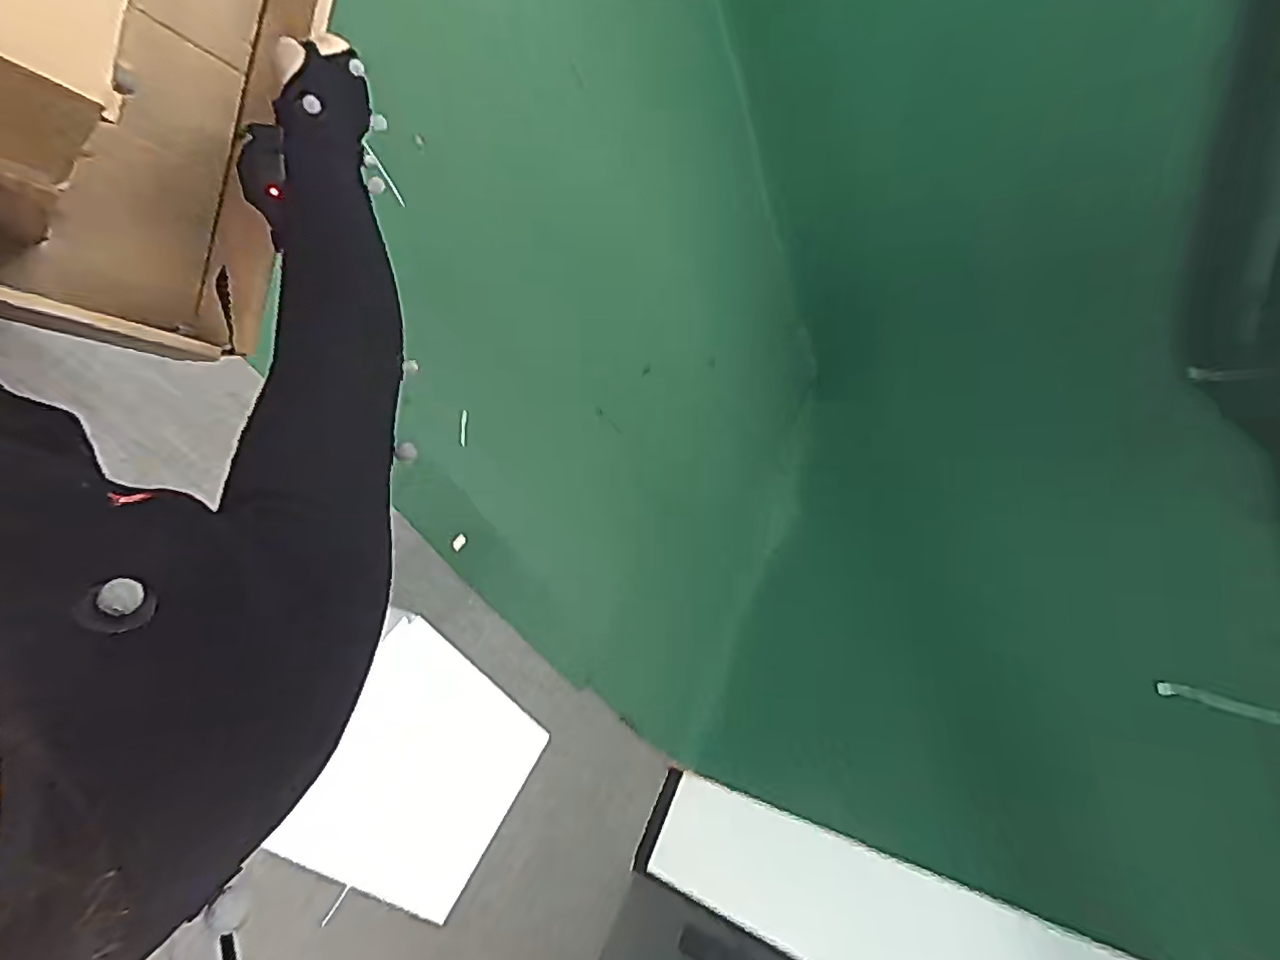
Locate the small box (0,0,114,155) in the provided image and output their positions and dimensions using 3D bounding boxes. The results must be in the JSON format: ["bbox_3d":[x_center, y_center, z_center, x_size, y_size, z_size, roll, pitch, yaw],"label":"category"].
[{"bbox_3d":[-0.357,-0.278,0.235,0.179,0.176,0.168,11,88,-54],"label":"small box"}]
